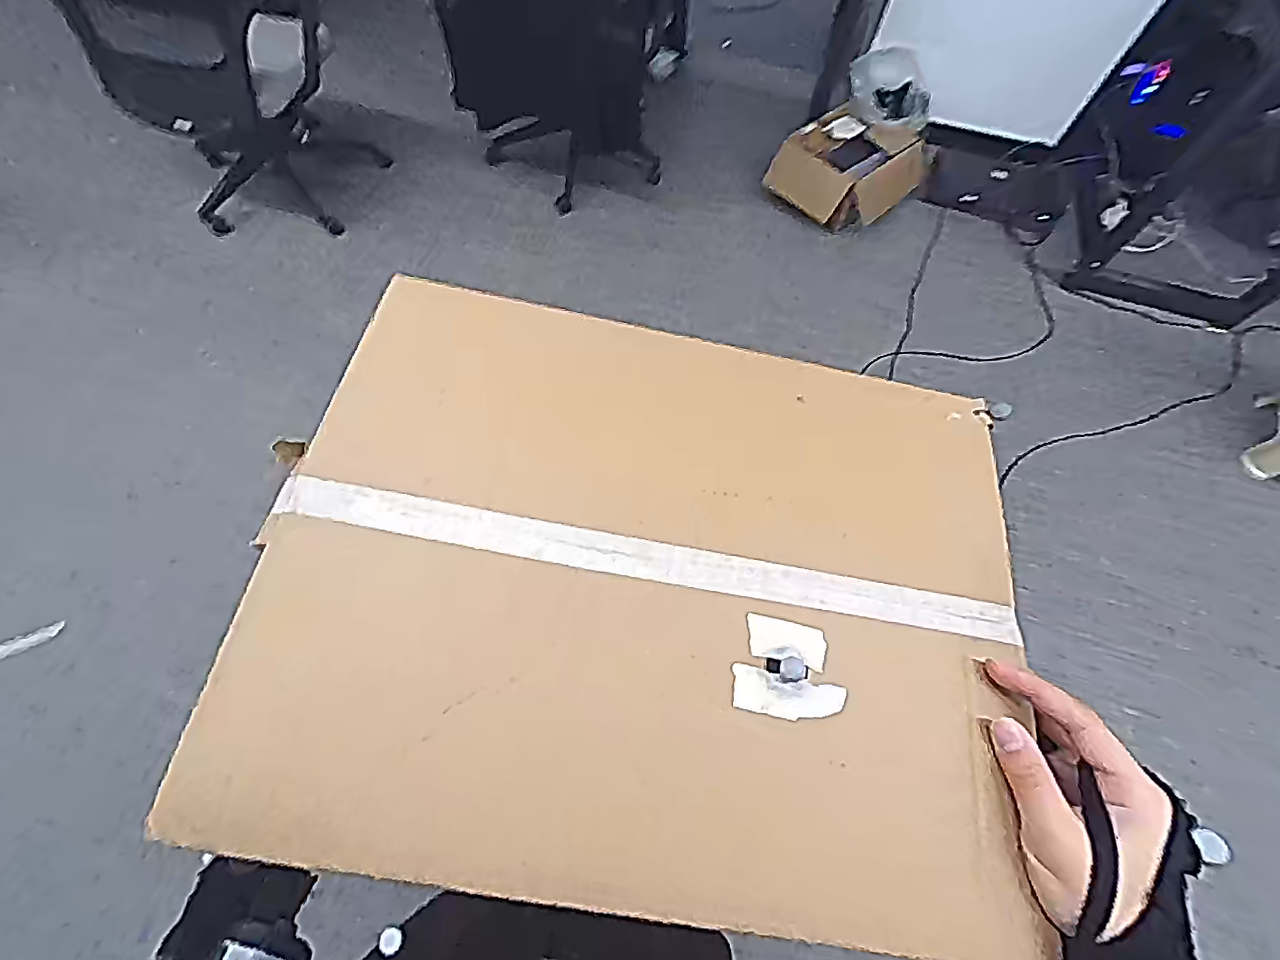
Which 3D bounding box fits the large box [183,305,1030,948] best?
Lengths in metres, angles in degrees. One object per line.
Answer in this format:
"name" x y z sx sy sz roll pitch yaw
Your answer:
"large box" -0.007 0.114 0.442 0.408 0.320 0.320 11 66 -4
